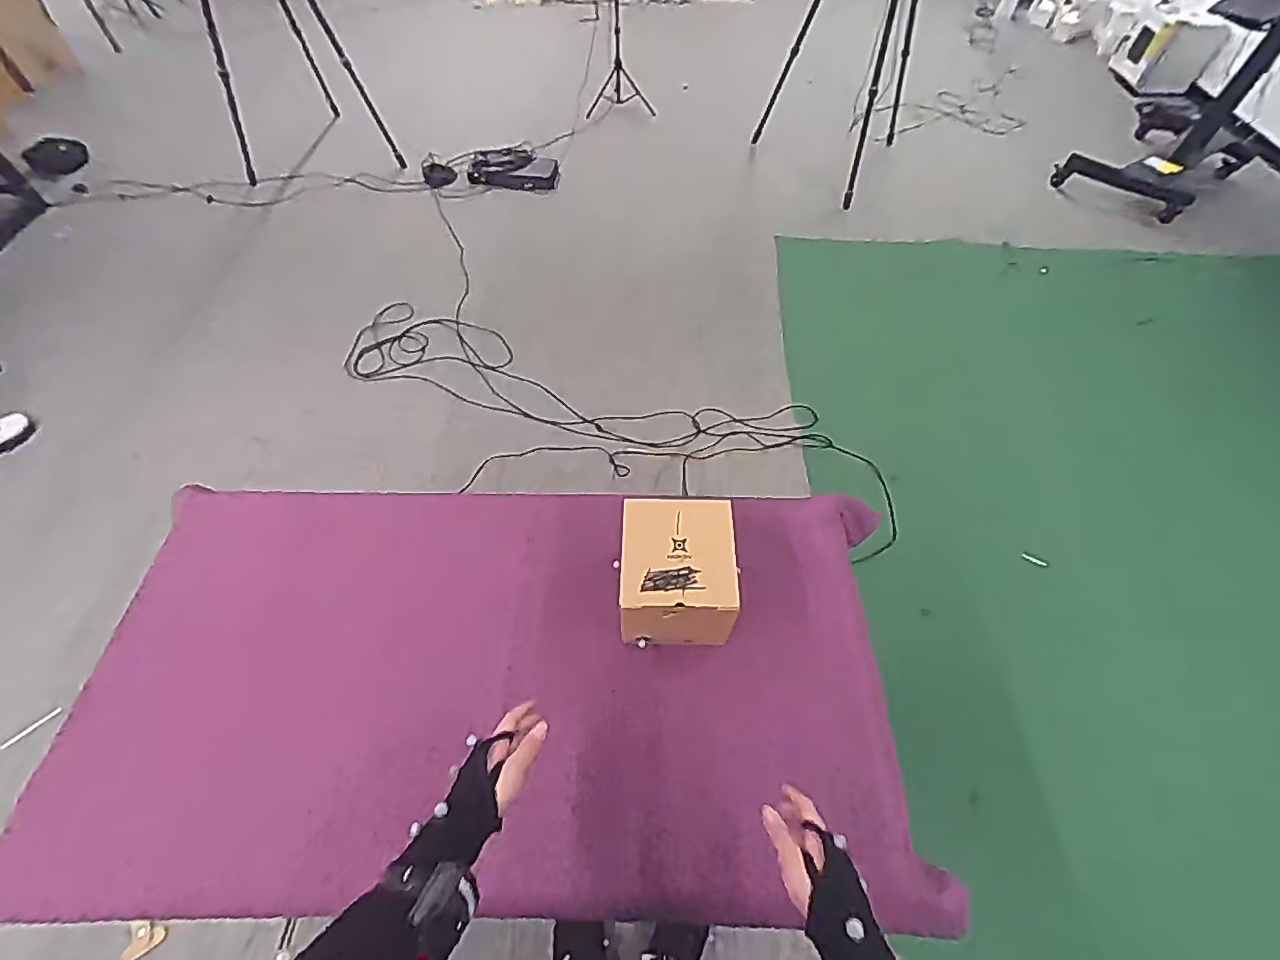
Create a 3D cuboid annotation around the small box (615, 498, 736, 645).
[{"bbox_3d":[0.052,0.146,0.834,0.168,0.176,0.179,1,55,1],"label":"small box"}]
